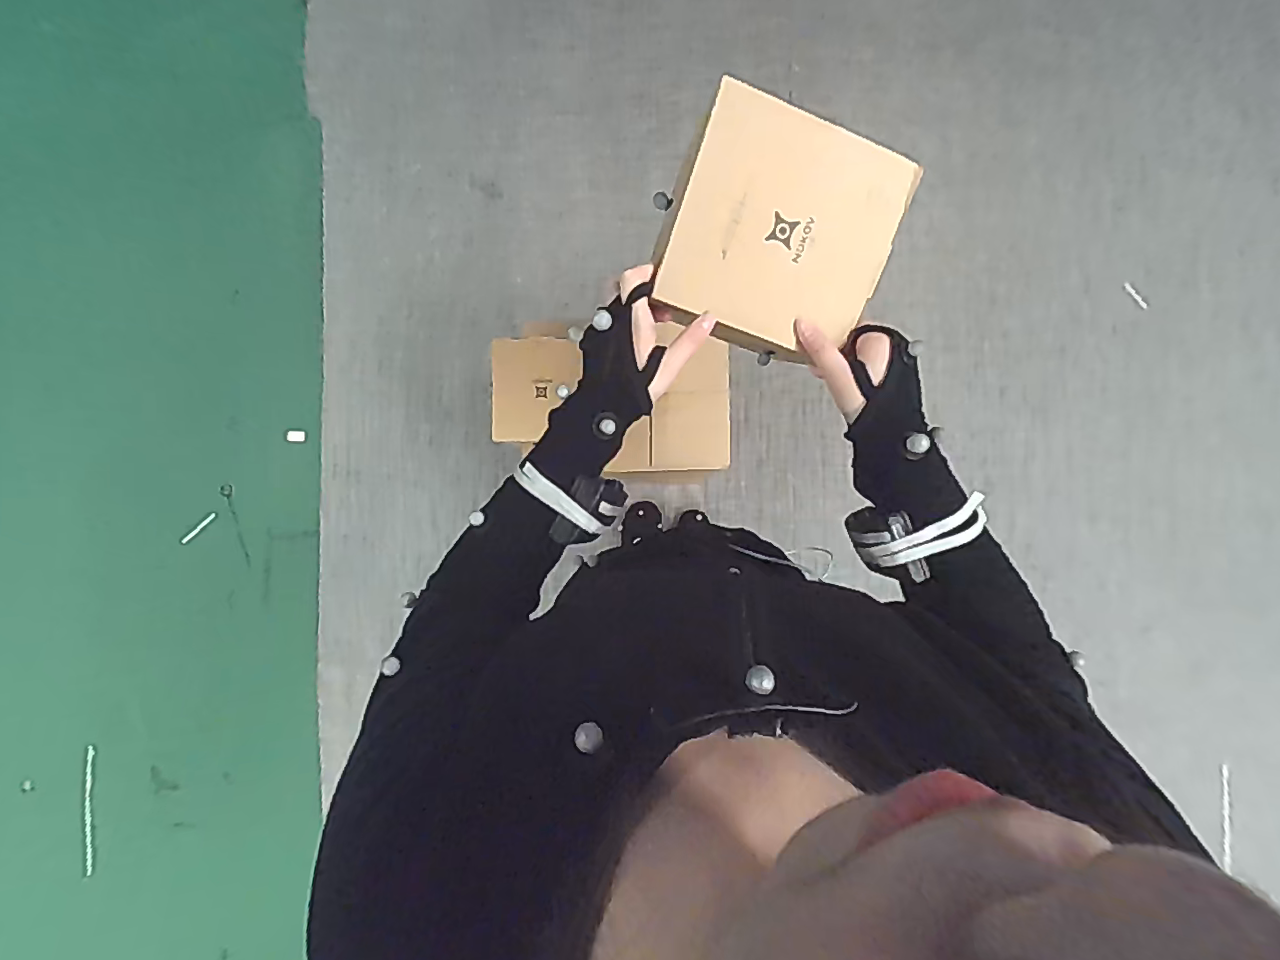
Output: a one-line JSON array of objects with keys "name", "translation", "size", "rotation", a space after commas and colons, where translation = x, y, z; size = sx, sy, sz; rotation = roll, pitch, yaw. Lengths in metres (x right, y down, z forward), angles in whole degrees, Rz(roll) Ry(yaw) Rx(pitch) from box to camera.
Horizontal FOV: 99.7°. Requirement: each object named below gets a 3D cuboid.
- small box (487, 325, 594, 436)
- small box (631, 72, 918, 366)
[{"name": "small box", "translation": [-0.171, -0.170, 0.972], "size": [0.168, 0.176, 0.179], "rotation": [1, 91, -1]}, {"name": "small box", "translation": [0.103, -0.218, 0.499], "size": [0.179, 0.176, 0.168], "rotation": [18, 103, -10]}]
